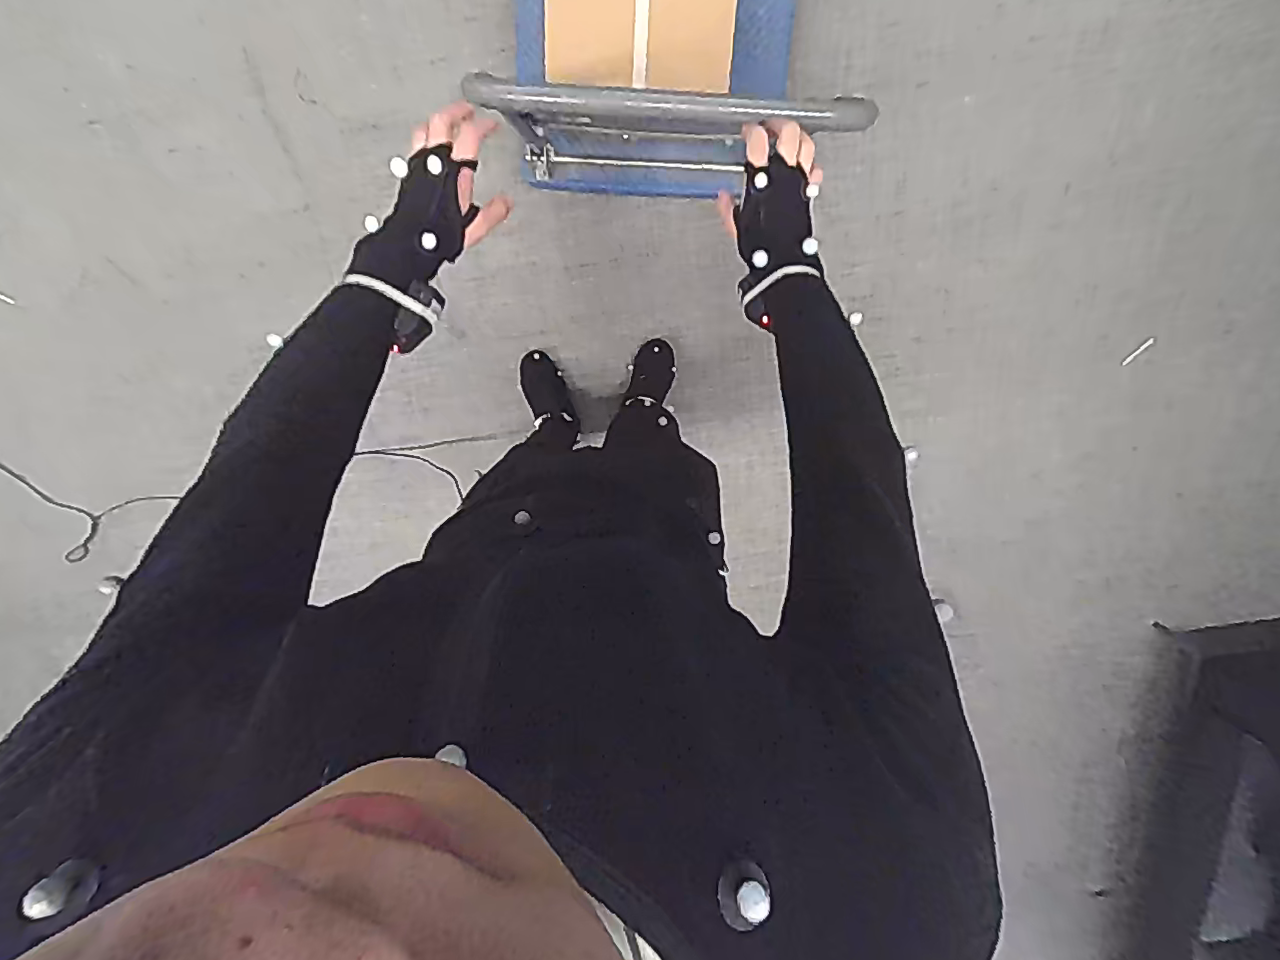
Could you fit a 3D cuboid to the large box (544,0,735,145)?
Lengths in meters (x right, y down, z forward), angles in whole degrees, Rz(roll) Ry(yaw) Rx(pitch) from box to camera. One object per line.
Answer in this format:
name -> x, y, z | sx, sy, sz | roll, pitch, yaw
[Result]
large box -> 0.001, -0.889, 1.000 | 0.320, 0.320, 0.408 | 2, 109, -3
